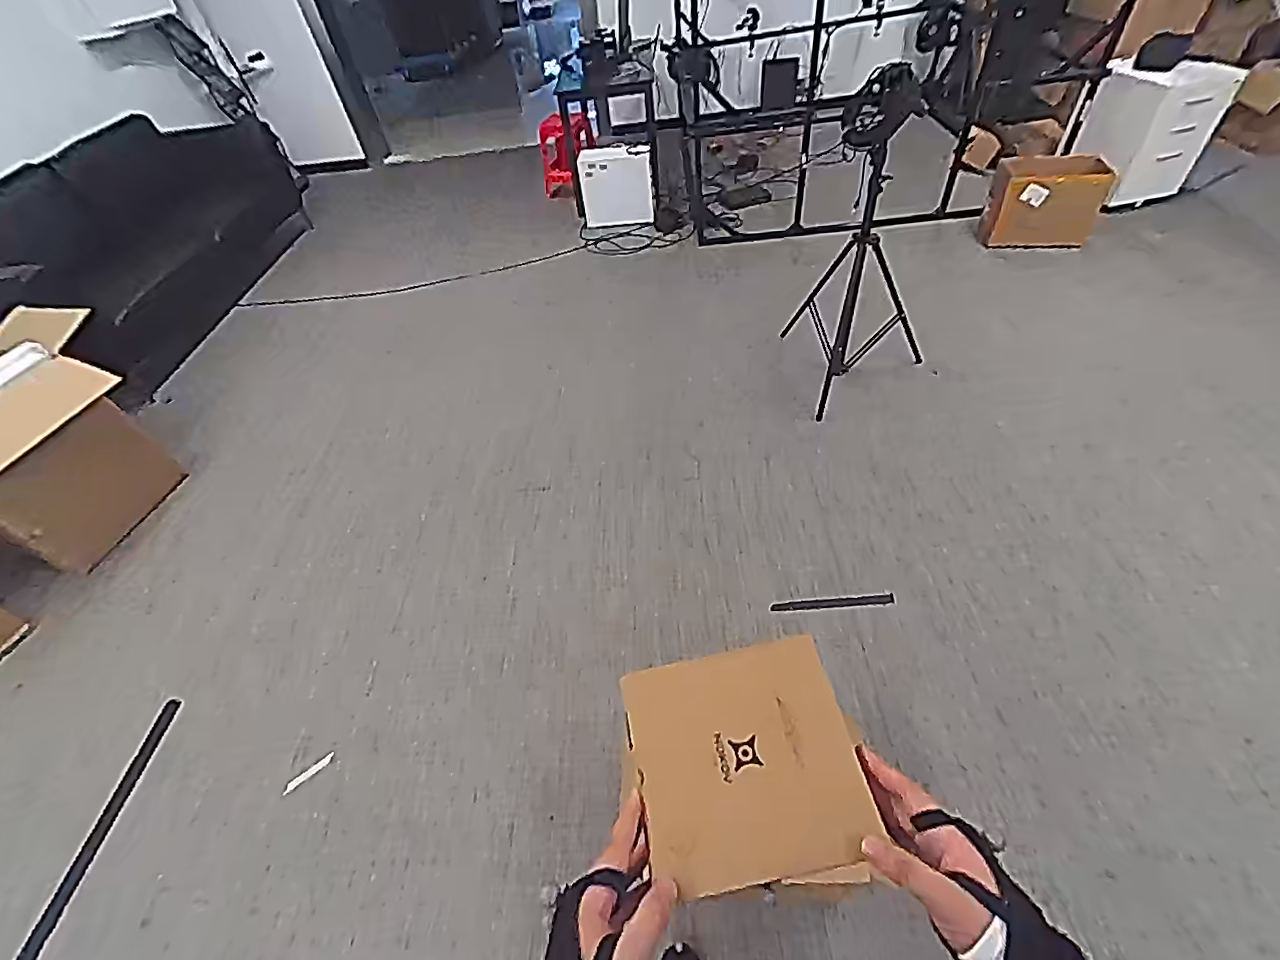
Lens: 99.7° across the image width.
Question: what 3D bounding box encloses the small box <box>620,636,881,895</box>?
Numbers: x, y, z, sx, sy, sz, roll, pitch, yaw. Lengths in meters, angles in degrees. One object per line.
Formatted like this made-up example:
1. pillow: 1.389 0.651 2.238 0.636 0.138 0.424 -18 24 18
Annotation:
1. small box: 0.090 0.270 0.505 0.179 0.176 0.168 -13 54 -1
